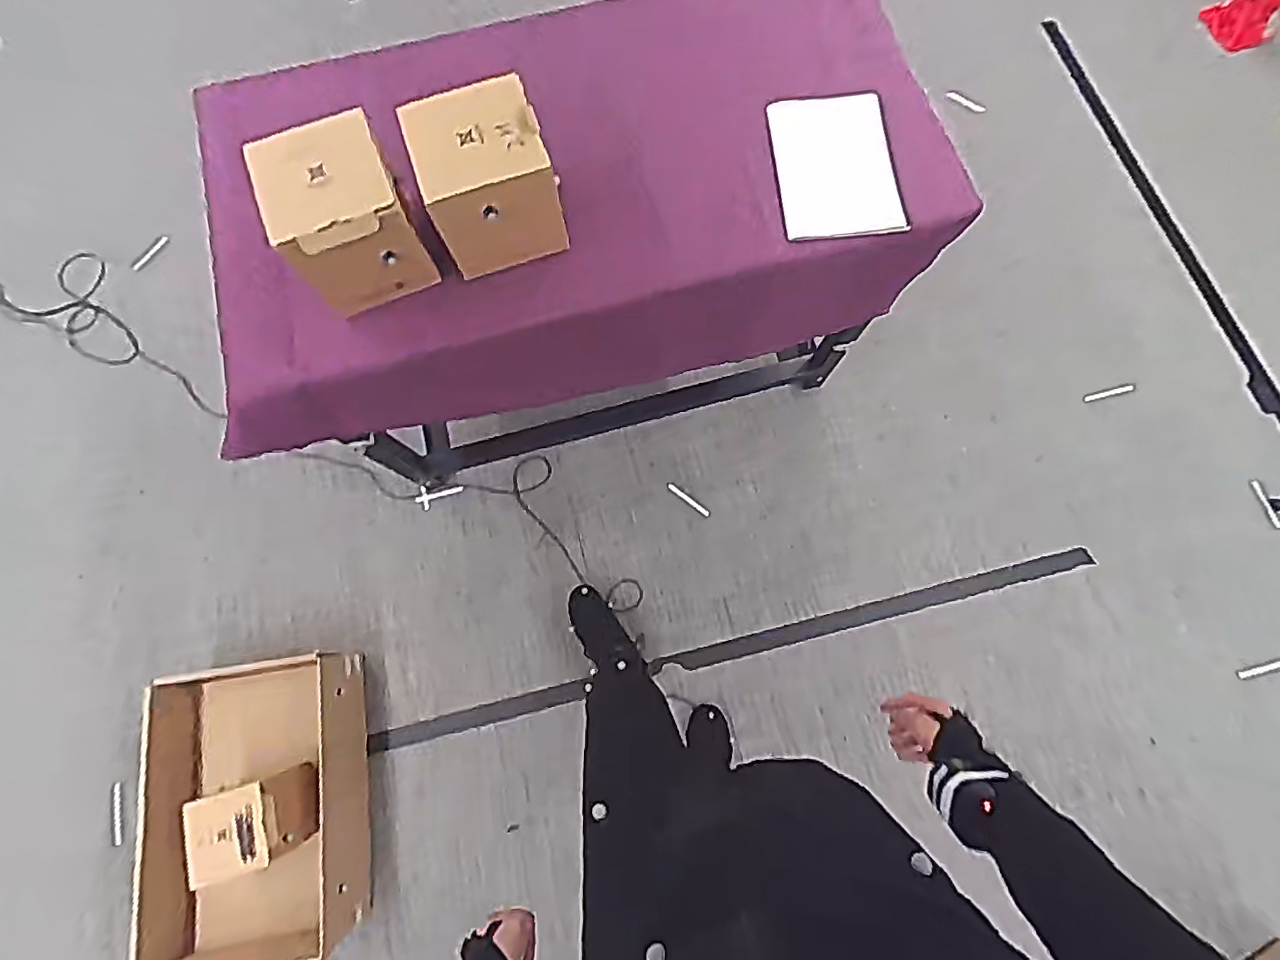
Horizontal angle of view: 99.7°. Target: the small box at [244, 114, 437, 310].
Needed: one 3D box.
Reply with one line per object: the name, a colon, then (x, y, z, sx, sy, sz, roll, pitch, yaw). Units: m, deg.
small box: (-0.421, -0.373, 0.788, 0.168, 0.176, 0.179, -23, 77, -5)
